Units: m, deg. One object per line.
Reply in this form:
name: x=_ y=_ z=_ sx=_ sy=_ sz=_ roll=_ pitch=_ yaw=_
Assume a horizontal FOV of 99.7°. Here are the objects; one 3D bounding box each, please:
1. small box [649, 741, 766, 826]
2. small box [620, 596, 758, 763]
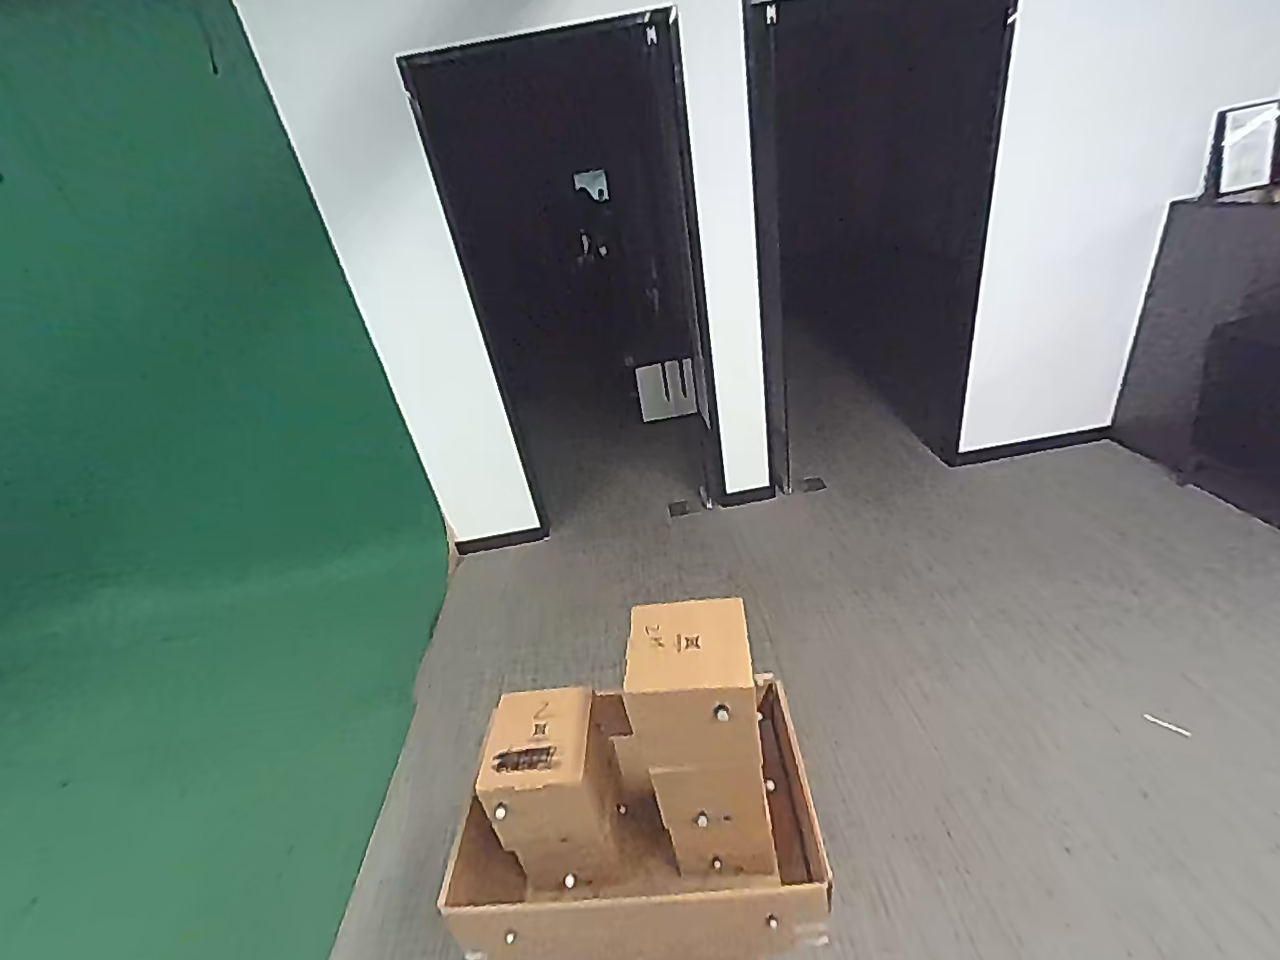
small box: x=0.111 y=0.436 z=0.895 sx=0.168 sy=0.176 sz=0.179 roll=-8 pitch=30 yaw=8
small box: x=0.080 y=0.298 z=0.811 sx=0.179 sy=0.176 sz=0.168 roll=-8 pitch=29 yaw=10
